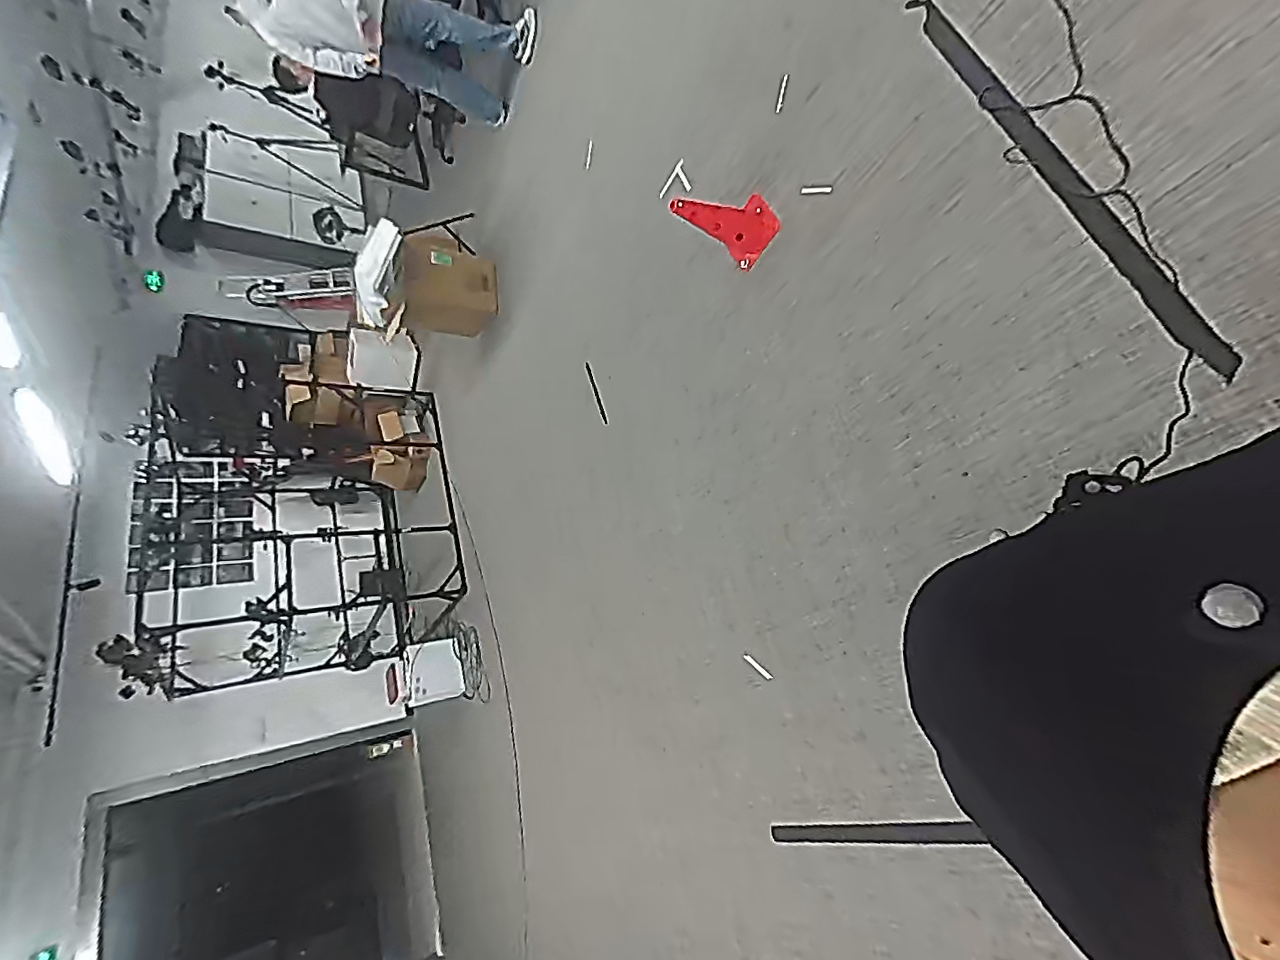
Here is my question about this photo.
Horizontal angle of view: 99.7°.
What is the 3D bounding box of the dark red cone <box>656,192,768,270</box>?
[{"bbox_3d":[0.219,-0.867,1.788,0.201,0.394,0.202,-51,51,40],"label":"dark red cone"}]
